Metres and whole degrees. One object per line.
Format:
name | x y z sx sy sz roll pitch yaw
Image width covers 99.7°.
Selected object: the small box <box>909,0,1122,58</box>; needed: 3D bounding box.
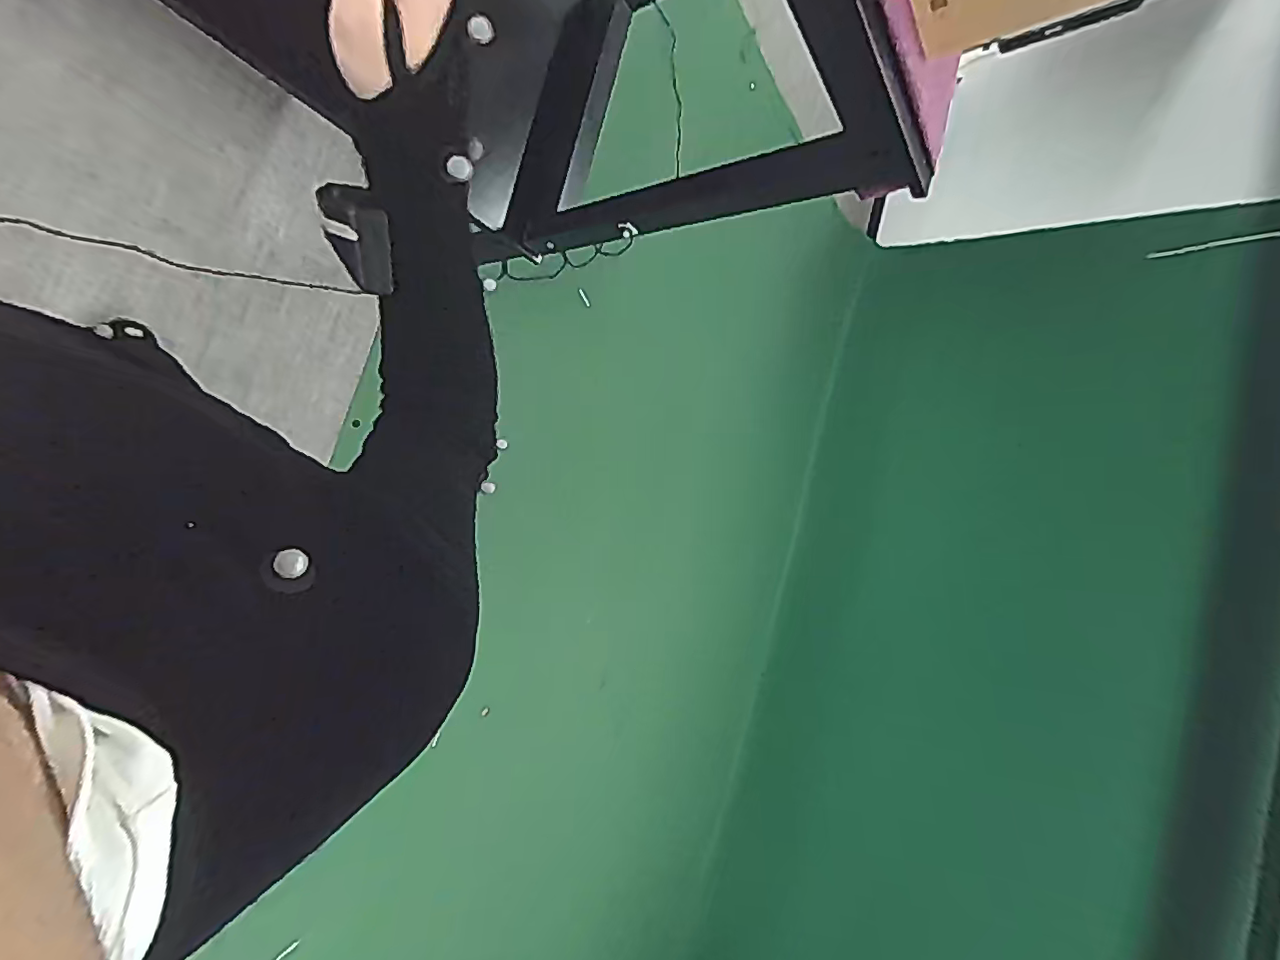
small box | 0.339 -0.533 0.474 0.168 0.176 0.179 23 82 -48
